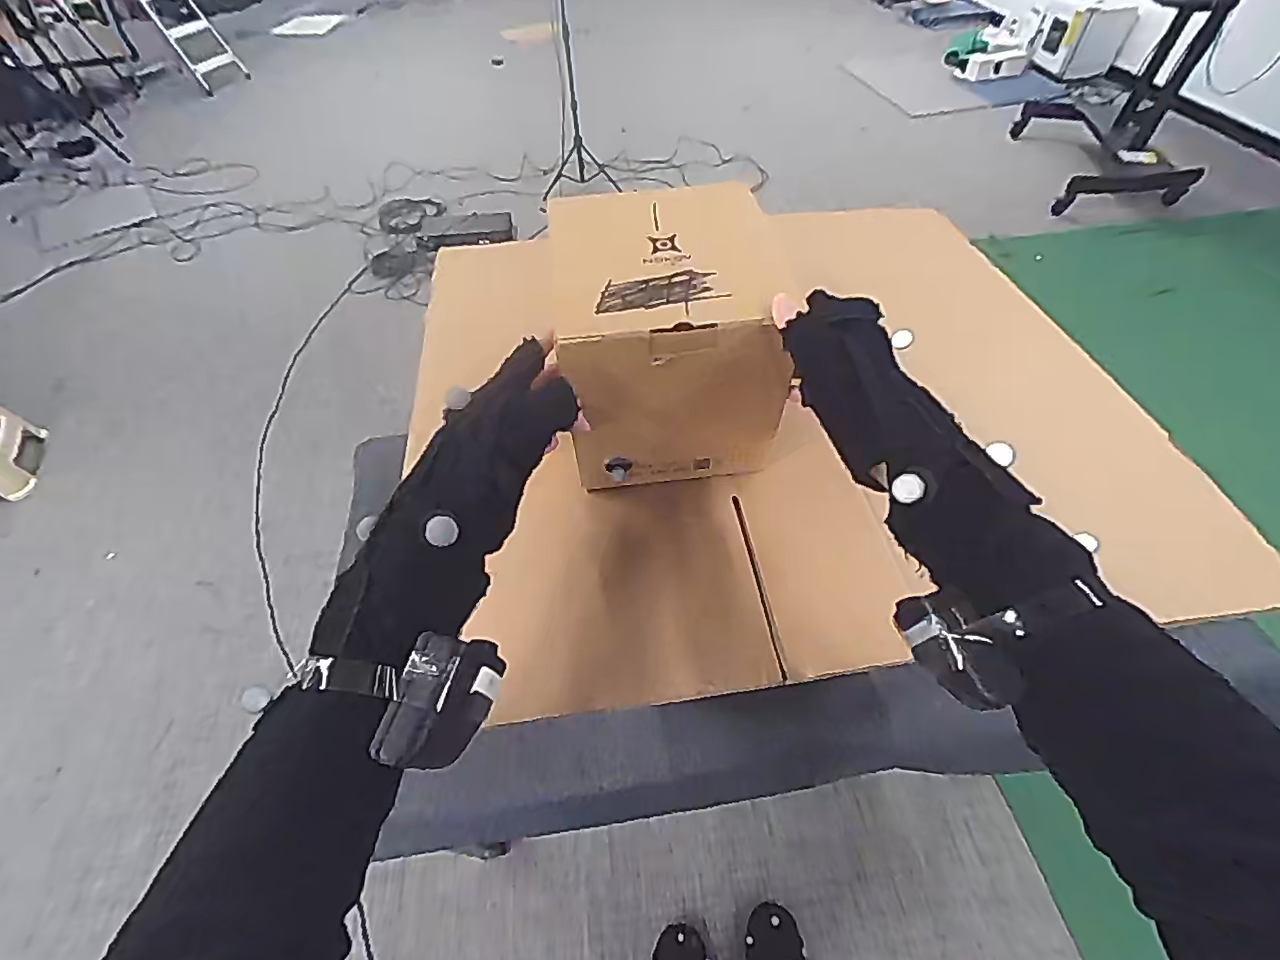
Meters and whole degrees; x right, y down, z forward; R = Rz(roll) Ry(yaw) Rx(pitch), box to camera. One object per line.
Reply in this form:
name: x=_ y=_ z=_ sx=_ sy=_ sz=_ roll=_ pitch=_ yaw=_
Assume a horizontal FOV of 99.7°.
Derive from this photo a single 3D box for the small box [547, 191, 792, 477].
small box: x=0.016 y=-0.115 z=0.464 sx=0.168 sy=0.176 sz=0.179 roll=-6 pitch=54 yaw=-3
